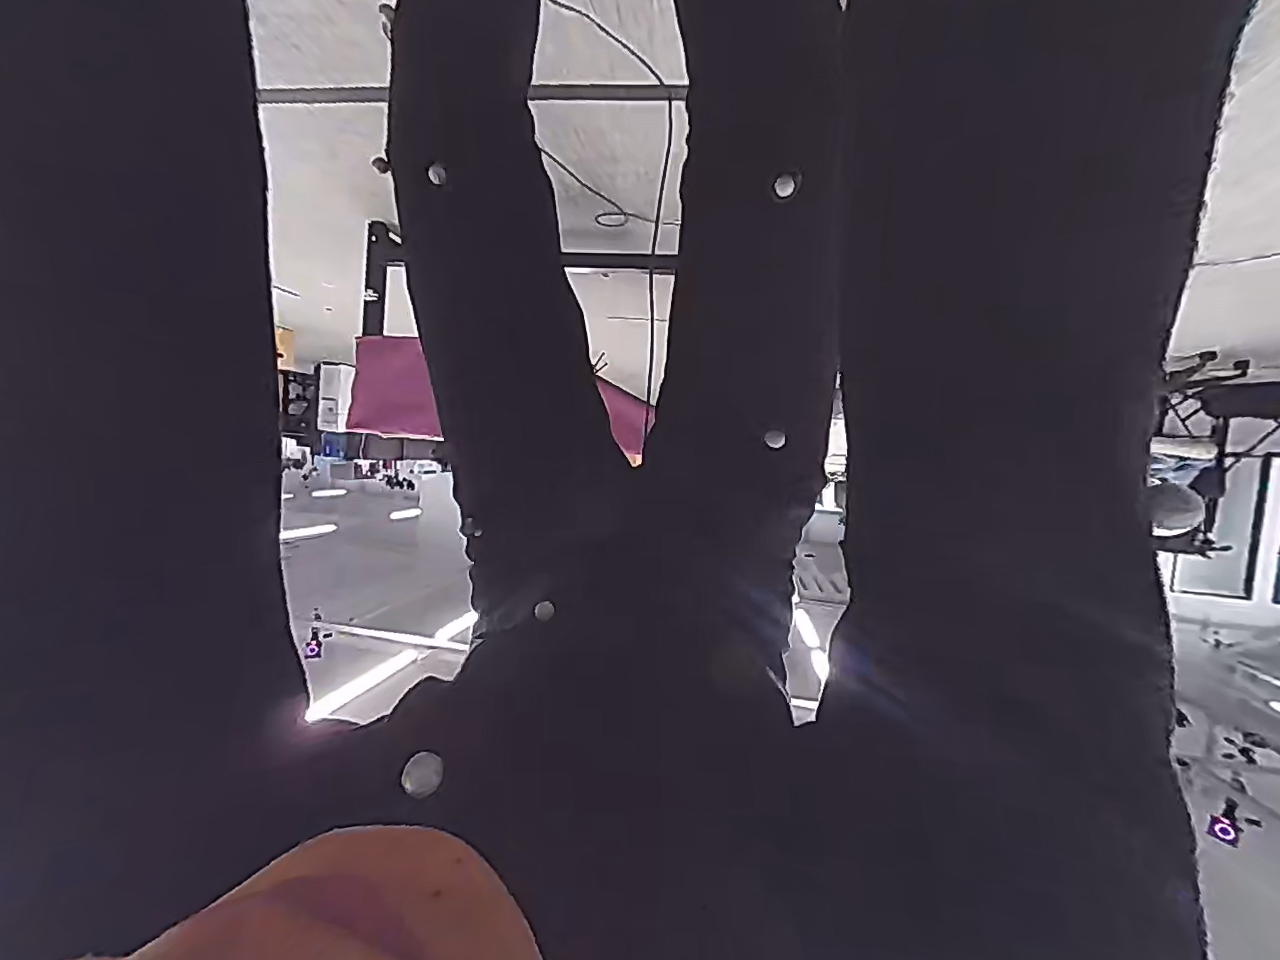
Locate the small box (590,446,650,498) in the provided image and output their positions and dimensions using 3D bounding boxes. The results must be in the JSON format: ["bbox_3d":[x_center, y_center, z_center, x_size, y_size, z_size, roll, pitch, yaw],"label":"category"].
[{"bbox_3d":[-0.069,-0.031,1.931,0.168,0.176,0.179,7,-176,17],"label":"small box"}]
